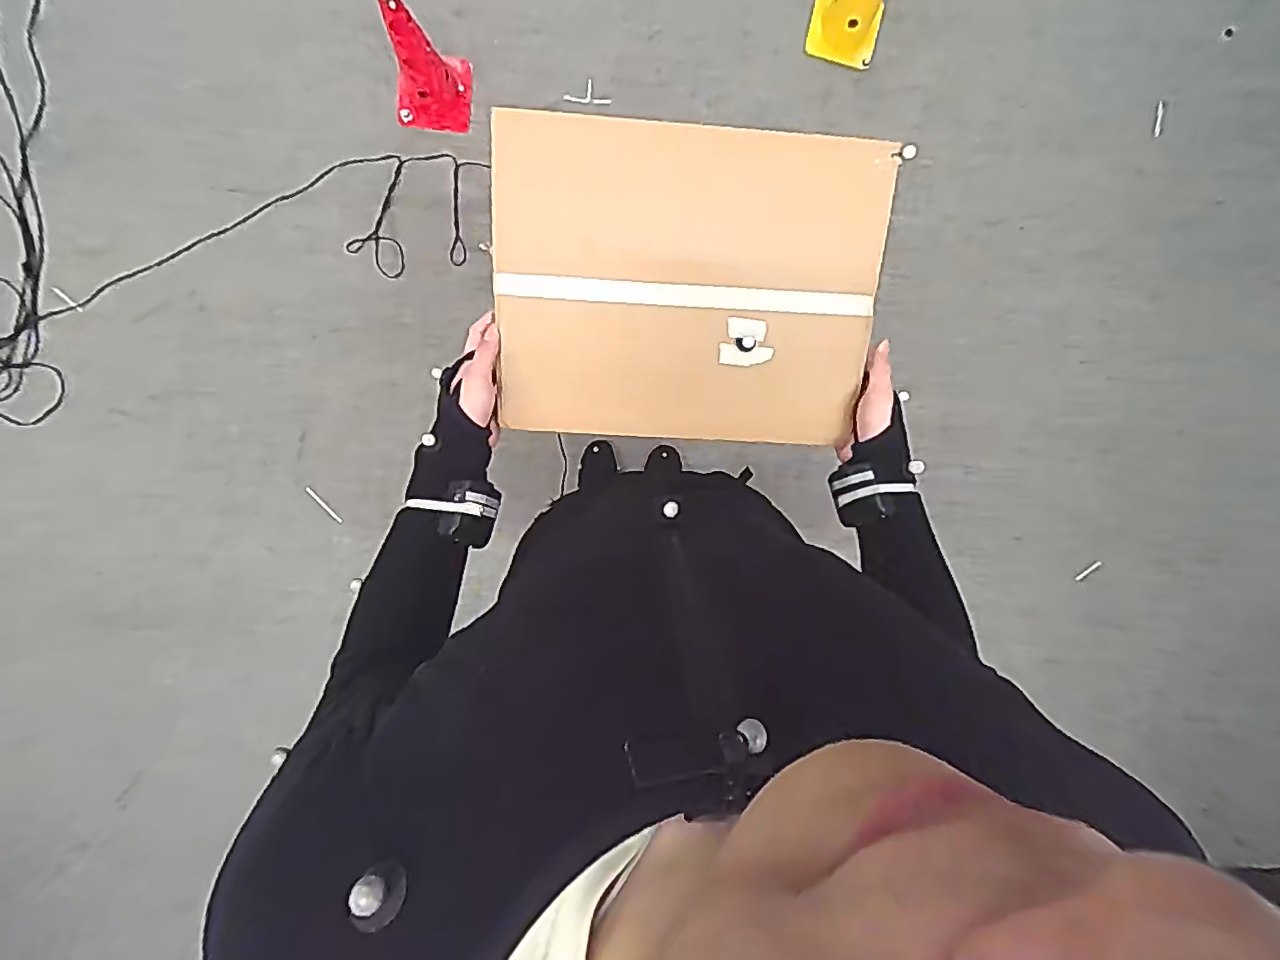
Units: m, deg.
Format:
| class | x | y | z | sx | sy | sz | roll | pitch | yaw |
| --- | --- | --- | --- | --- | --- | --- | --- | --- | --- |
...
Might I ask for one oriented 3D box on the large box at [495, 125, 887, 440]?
| class | x | y | z | sx | sy | sz | roll | pitch | yaw |
| --- | --- | --- | --- | --- | --- | --- | --- | --- | --- |
| large box | 0.040 | -0.239 | 0.723 | 0.408 | 0.320 | 0.320 | 2 | 108 | -4 |
